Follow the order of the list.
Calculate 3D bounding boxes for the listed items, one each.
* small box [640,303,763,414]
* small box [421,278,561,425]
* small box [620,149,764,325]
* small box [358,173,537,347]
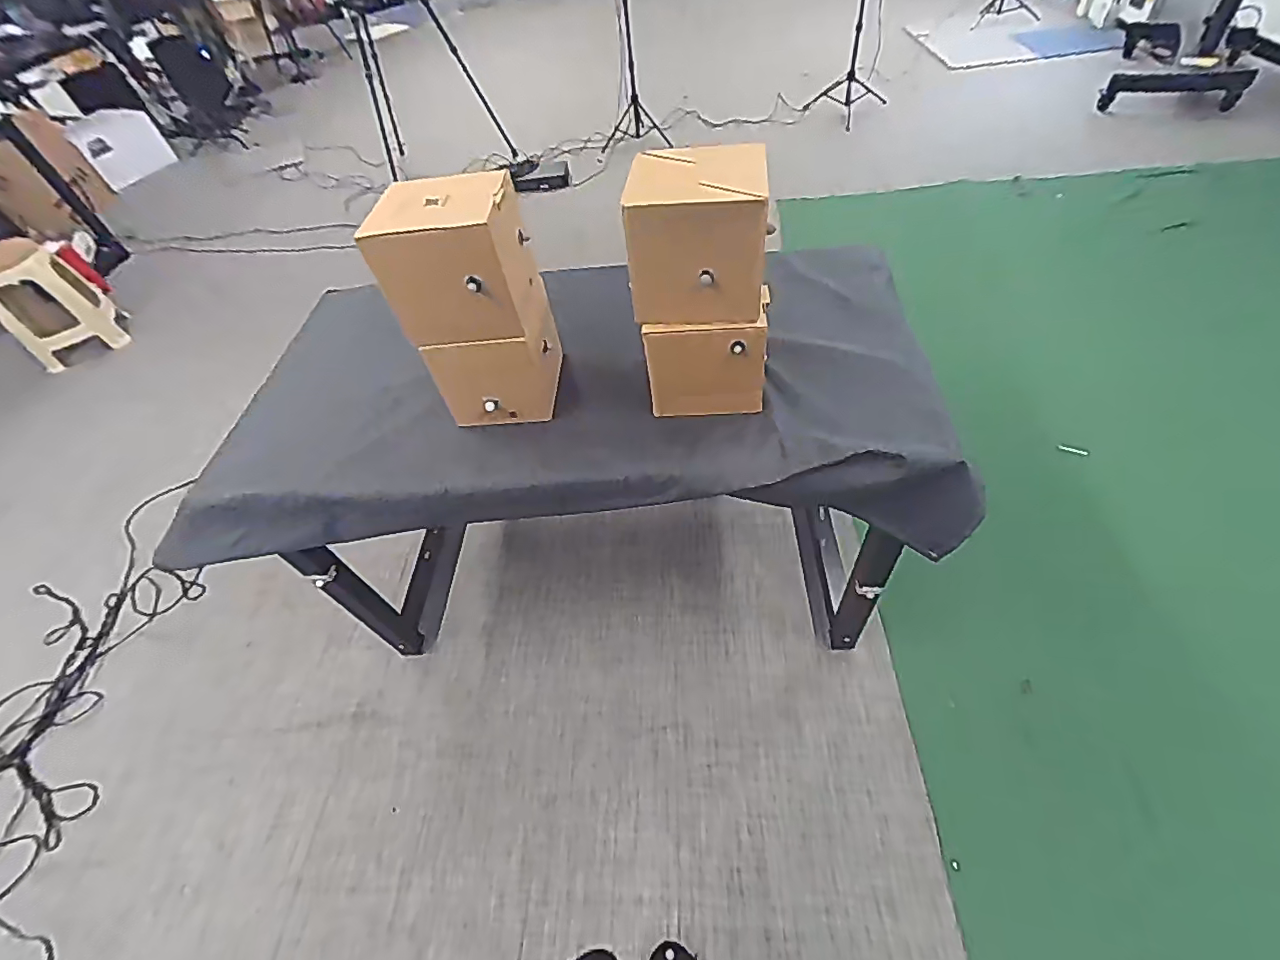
[{"bbox_3d":[0.100,-0.219,0.868,0.179,0.176,0.168,-1,51,6],"label":"small box"},{"bbox_3d":[-0.235,-0.213,0.908,0.168,0.176,0.179,-3,51,6],"label":"small box"},{"bbox_3d":[0.078,-0.335,0.748,0.179,0.176,0.168,2,51,9],"label":"small box"},{"bbox_3d":[-0.259,-0.313,0.782,0.179,0.176,0.168,-5,50,6],"label":"small box"}]
